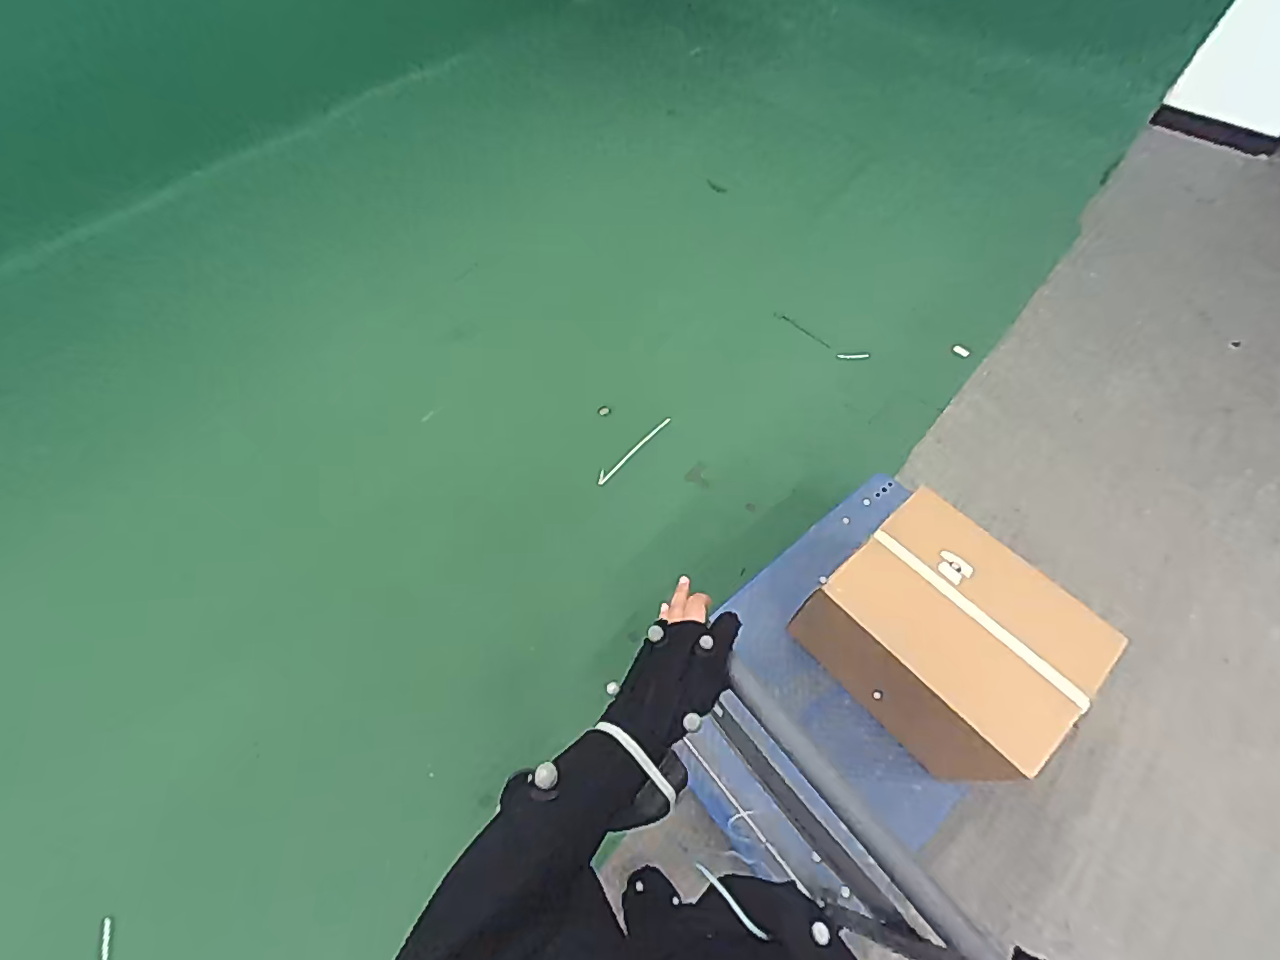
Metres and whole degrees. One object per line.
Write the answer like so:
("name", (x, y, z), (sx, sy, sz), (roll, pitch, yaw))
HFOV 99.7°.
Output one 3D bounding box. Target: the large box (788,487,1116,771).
("large box", (0.570, 0.300, 1.072), (0.320, 0.320, 0.408), (-38, 65, -18))
